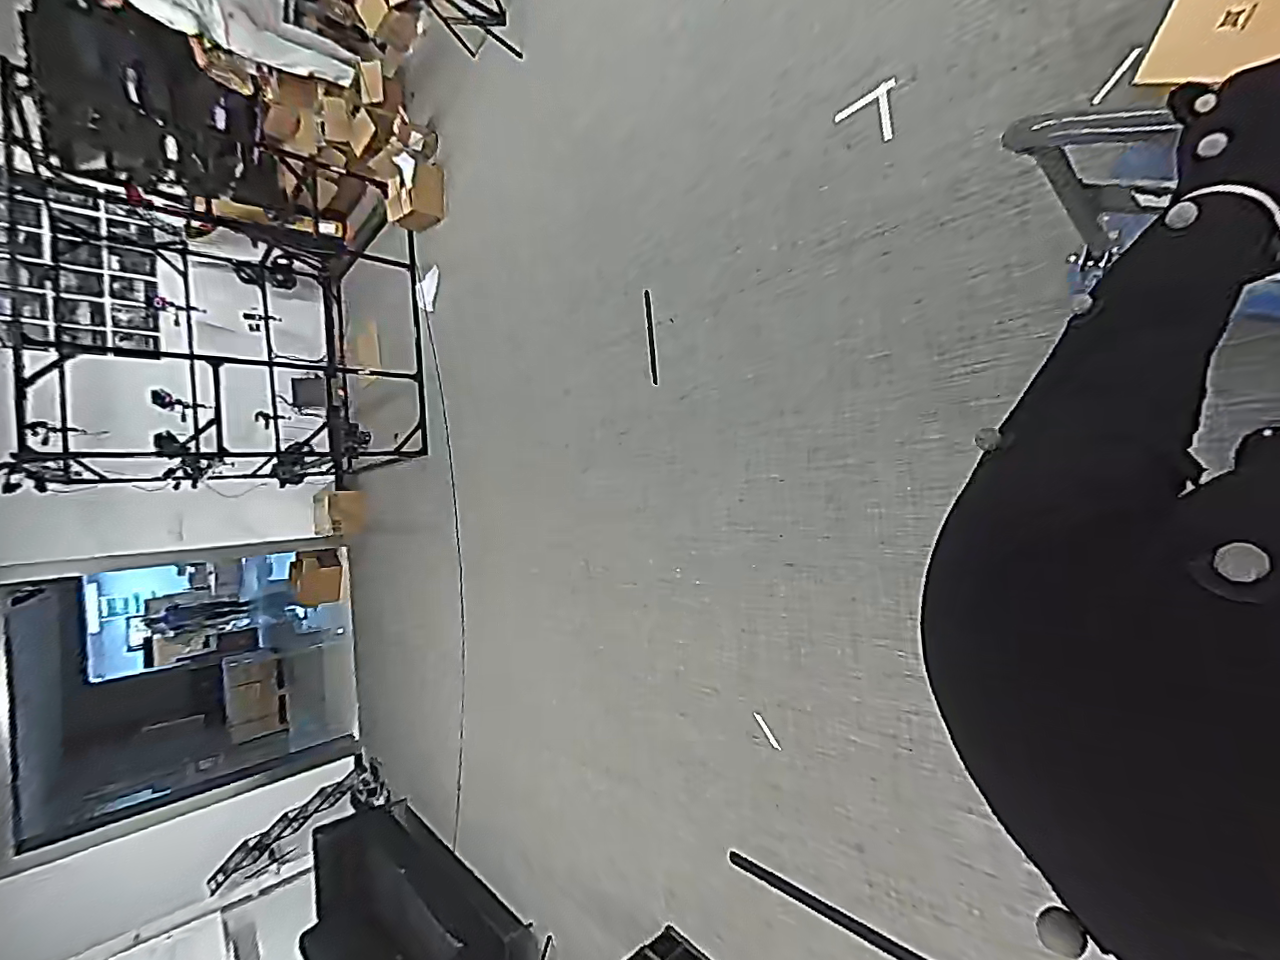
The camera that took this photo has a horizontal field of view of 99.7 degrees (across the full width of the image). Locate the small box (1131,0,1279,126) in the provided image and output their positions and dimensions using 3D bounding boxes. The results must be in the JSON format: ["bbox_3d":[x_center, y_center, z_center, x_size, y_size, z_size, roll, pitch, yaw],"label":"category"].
[{"bbox_3d":[0.921,-0.674,0.839,0.179,0.176,0.168,36,117,39],"label":"small box"}]
